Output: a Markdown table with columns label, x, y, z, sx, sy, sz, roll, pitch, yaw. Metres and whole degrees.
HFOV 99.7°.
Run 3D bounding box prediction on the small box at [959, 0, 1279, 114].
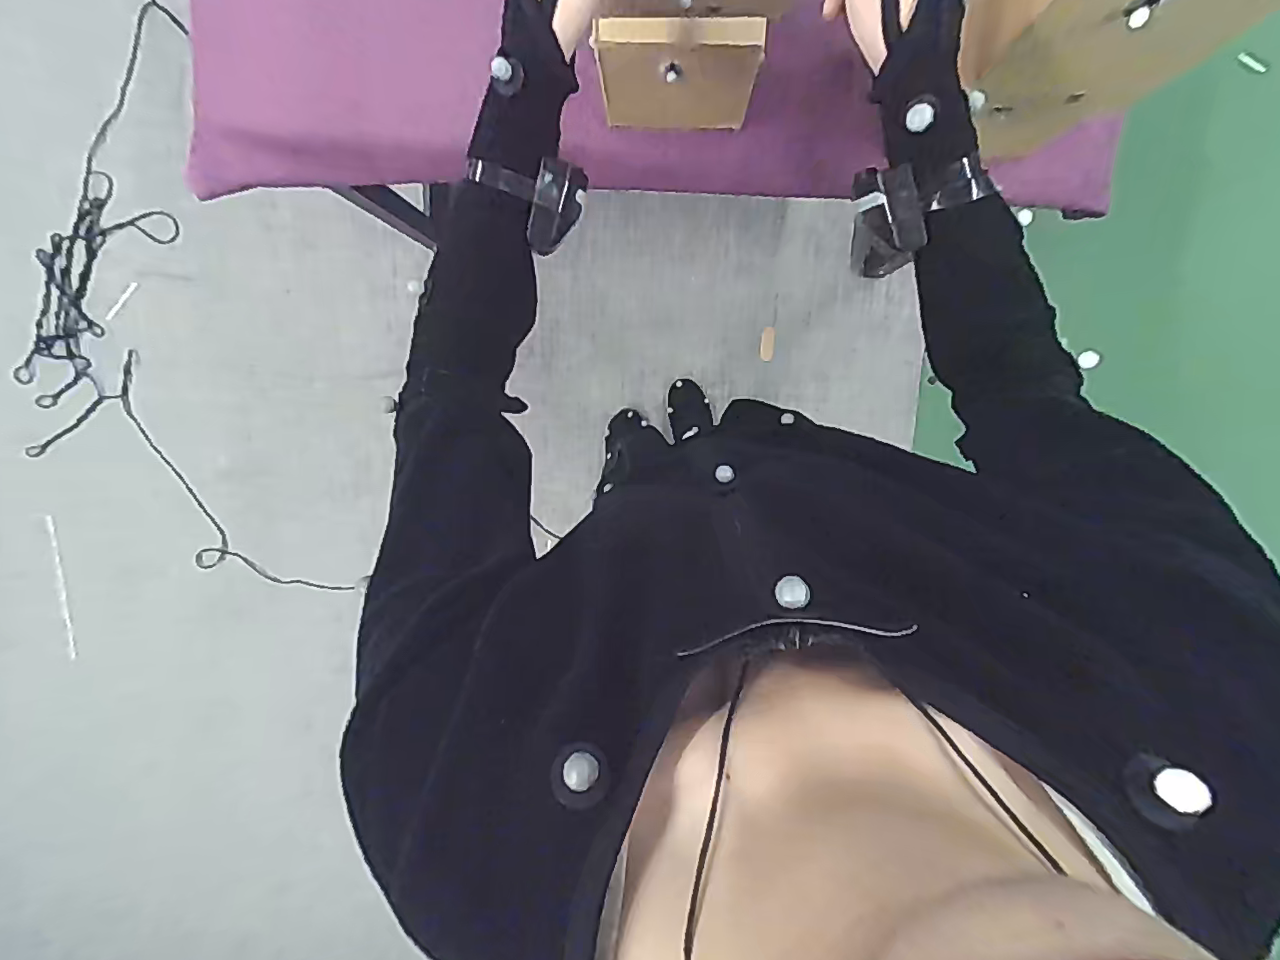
| label | x | y | z | sx | sy | sz | roll | pitch | yaw |
| --- | --- | --- | --- | --- | --- | --- | --- | --- | --- |
| small box | 0.390 | -0.439 | 0.440 | 0.168 | 0.176 | 0.179 | 4 | 98 | 4 |

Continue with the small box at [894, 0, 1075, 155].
| label | x | y | z | sx | sy | sz | roll | pitch | yaw |
| --- | --- | --- | --- | --- | --- | --- | --- | --- | --- |
| small box | 0.403 | -0.482 | 0.599 | 0.179 | 0.176 | 0.168 | 2 | 99 | 3 |

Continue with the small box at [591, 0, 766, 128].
| label | x | y | z | sx | sy | sz | roll | pitch | yaw |
| --- | --- | --- | --- | --- | --- | --- | --- | --- | --- |
| small box | 0.047 | -0.530 | 0.615 | 0.179 | 0.176 | 0.168 | 4 | 98 | 2 |
